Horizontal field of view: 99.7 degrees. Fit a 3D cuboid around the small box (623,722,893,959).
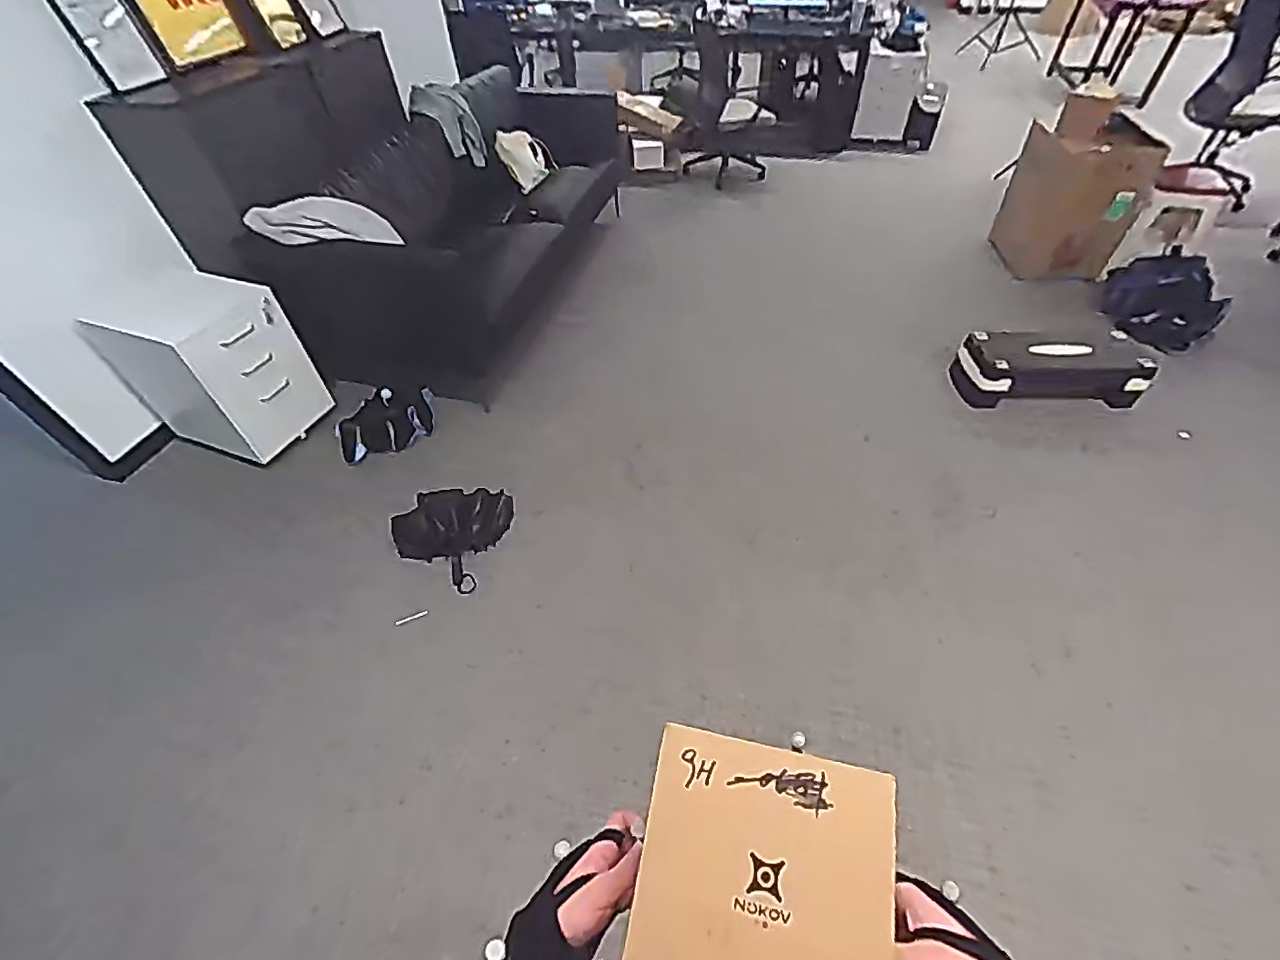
[{"bbox_3d":[0.086,0.304,0.431,0.168,0.176,0.179,9,65,7],"label":"small box"}]
